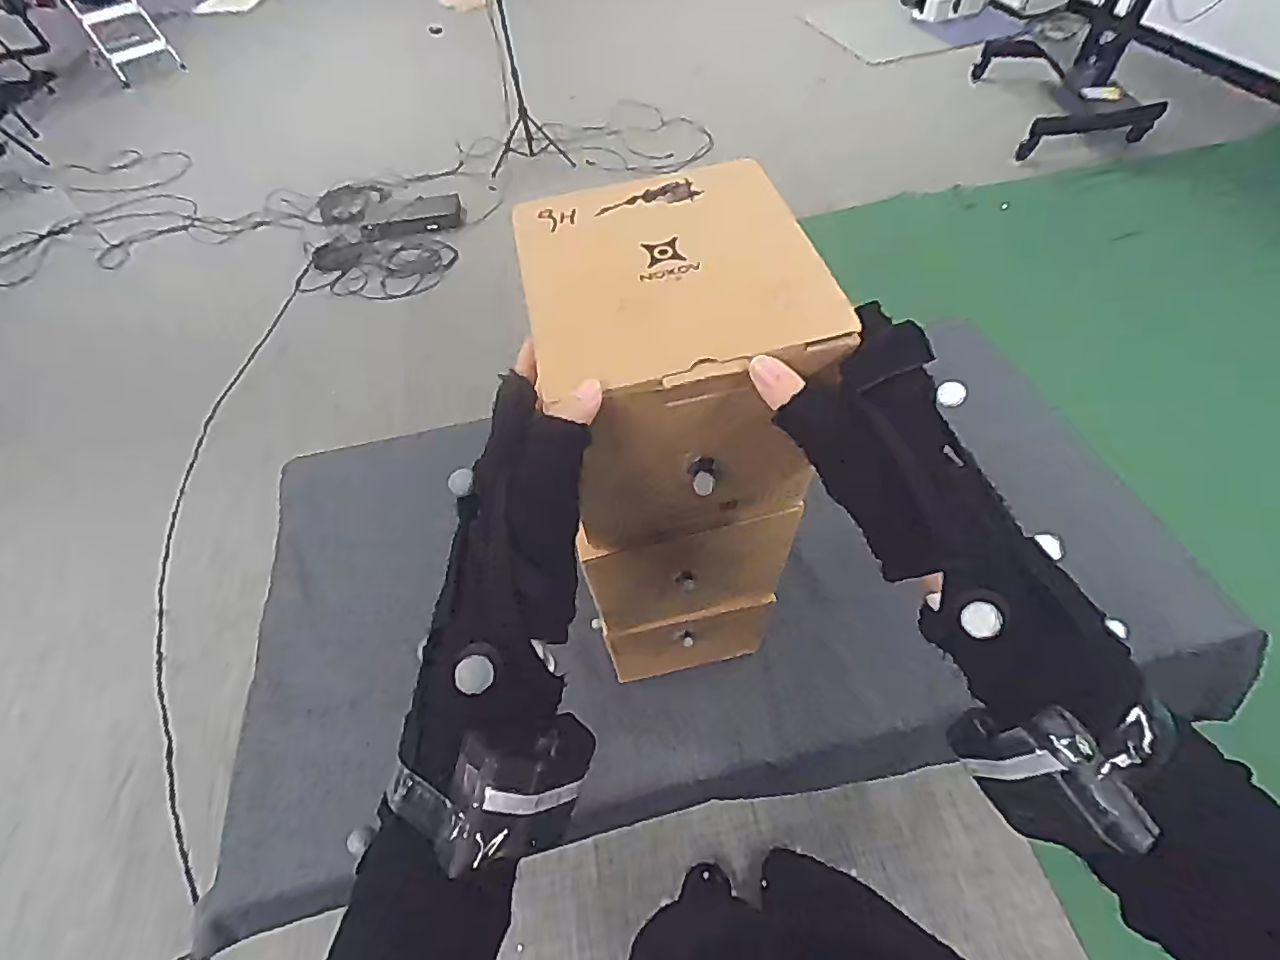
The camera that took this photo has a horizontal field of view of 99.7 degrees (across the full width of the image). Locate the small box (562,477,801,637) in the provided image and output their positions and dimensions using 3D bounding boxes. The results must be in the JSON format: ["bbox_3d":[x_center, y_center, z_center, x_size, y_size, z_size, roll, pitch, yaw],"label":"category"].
[{"bbox_3d":[0.028,0.030,0.514,0.179,0.176,0.168,-14,56,-4],"label":"small box"}]

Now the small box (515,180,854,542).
[{"bbox_3d":[0.020,-0.070,0.381,0.168,0.176,0.179,-12,59,-4],"label":"small box"}]

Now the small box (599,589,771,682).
[{"bbox_3d":[0.038,0.126,0.647,0.179,0.176,0.168,-11,56,-5],"label":"small box"}]
